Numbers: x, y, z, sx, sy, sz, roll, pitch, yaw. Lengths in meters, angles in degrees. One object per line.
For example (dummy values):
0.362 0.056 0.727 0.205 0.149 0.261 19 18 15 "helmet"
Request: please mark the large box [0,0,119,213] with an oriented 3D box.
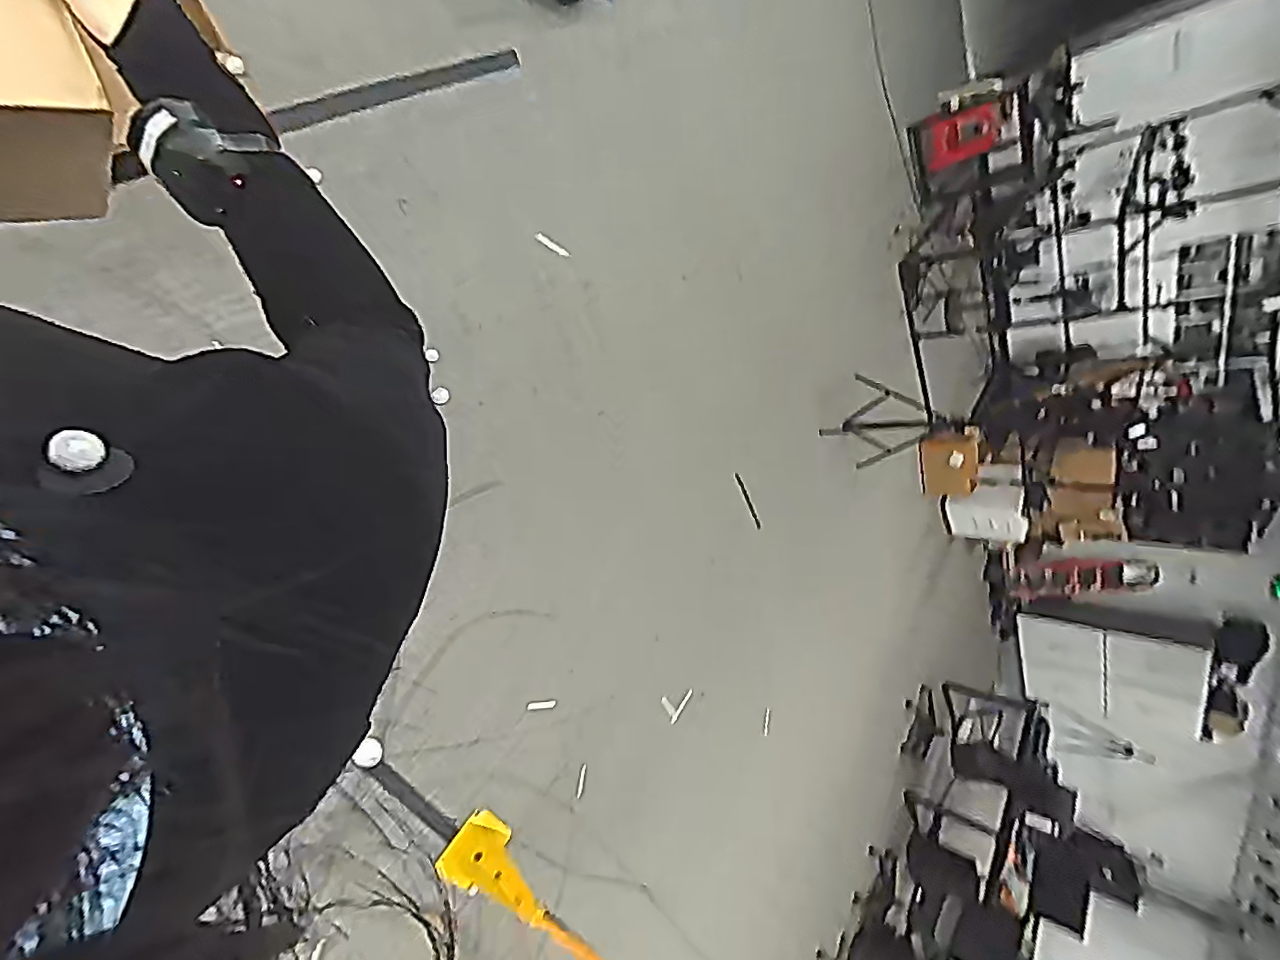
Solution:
-0.643 -0.350 0.320 0.408 0.320 0.320 -28 114 -39 "large box"
